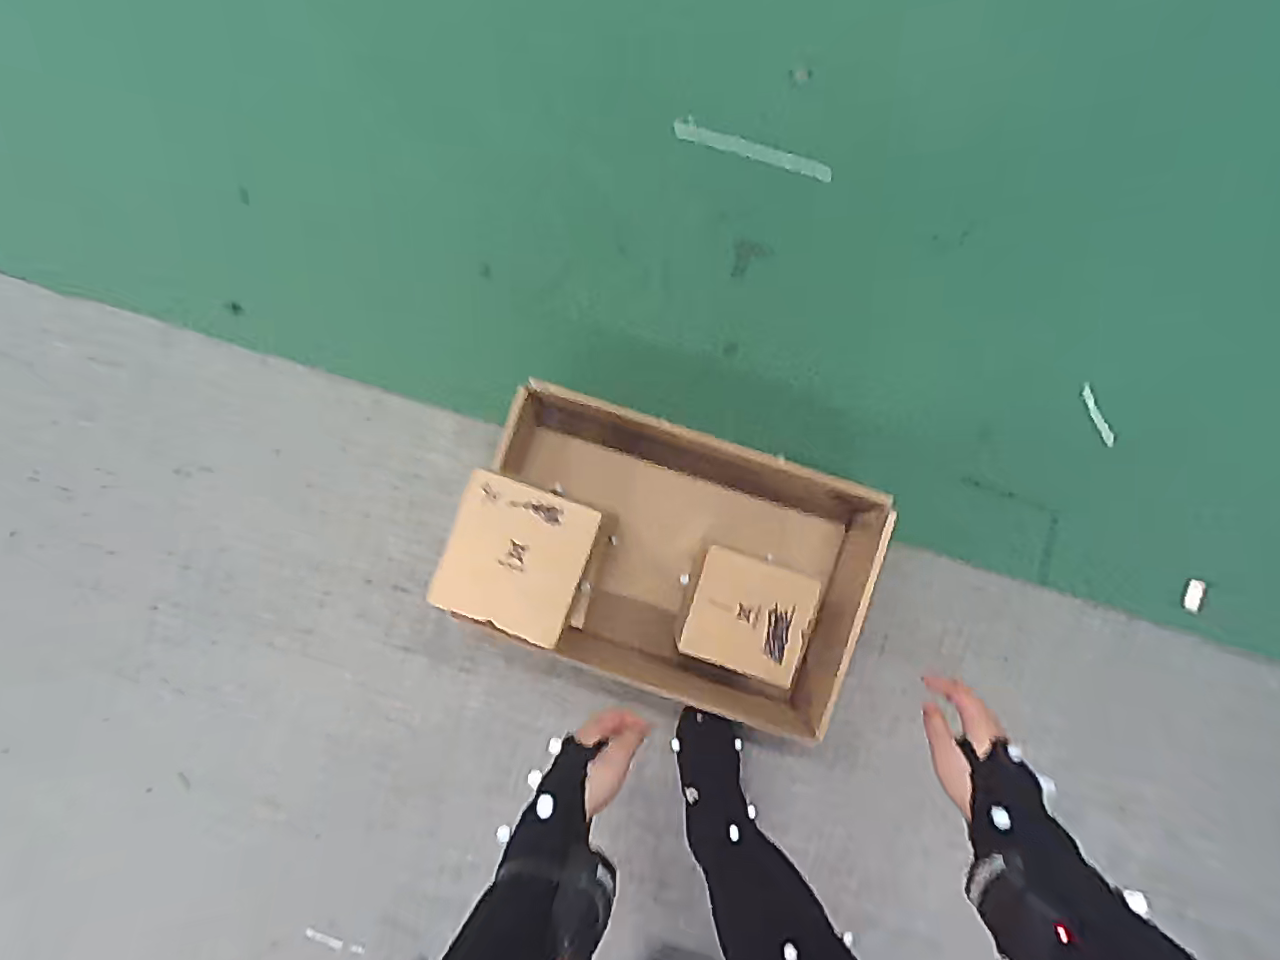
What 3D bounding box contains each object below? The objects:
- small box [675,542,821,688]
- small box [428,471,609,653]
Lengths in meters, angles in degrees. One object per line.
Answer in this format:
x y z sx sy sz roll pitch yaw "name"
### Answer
0.164 0.206 0.879 0.179 0.176 0.168 18 89 2 "small box"
-0.147 0.099 0.722 0.168 0.176 0.179 20 89 1 "small box"
